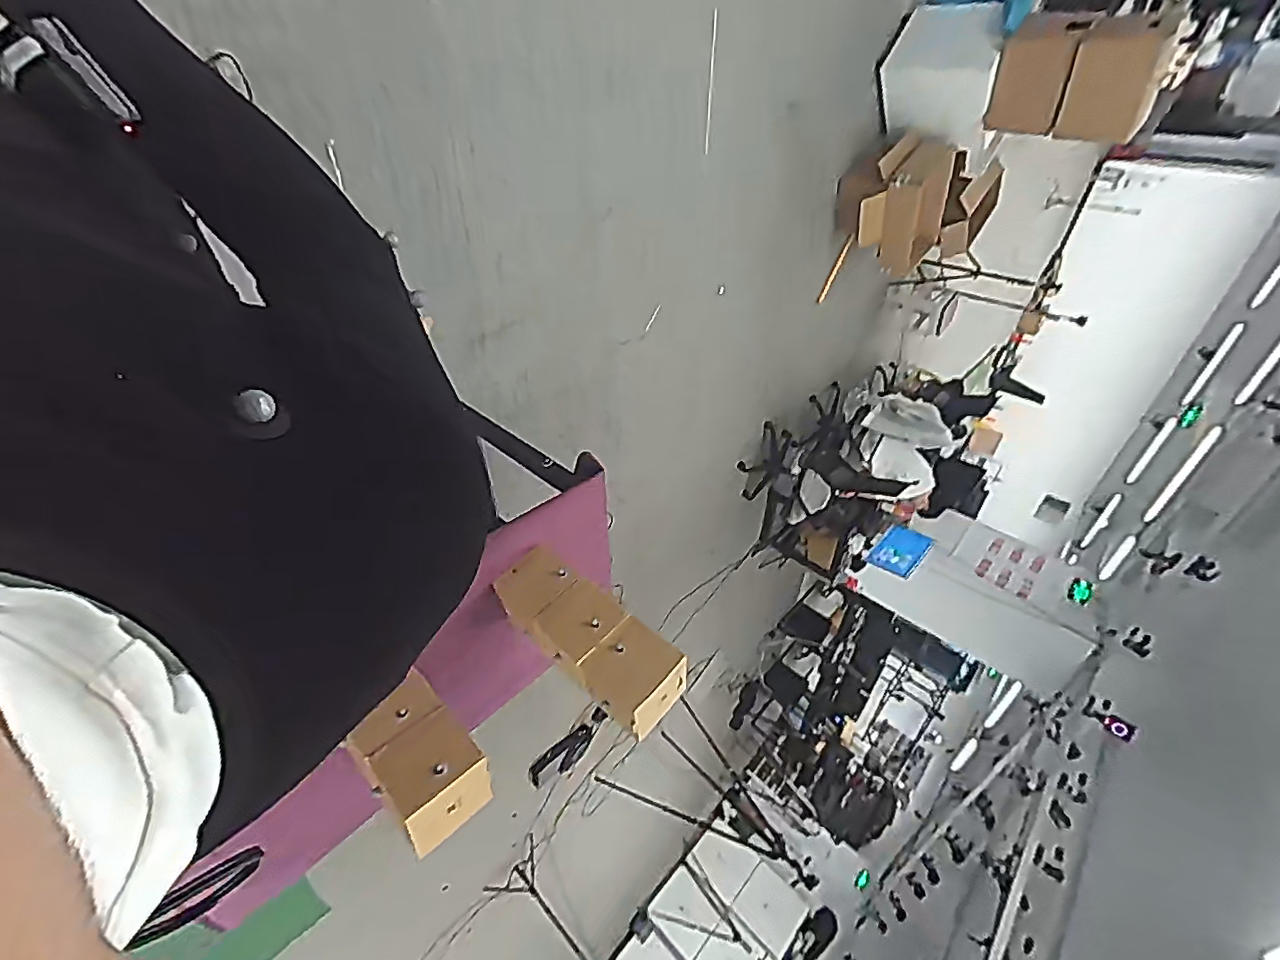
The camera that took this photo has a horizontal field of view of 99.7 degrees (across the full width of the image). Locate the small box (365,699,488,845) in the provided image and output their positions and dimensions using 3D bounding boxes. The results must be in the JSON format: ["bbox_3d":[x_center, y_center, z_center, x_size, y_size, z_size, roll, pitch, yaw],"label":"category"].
[{"bbox_3d":[-0.446,0.606,1.143,0.179,0.176,0.168,-28,136,-39],"label":"small box"}]

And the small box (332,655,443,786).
[{"bbox_3d":[-0.565,0.537,1.231,0.179,0.176,0.168,-26,135,-39],"label":"small box"}]

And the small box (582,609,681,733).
[{"bbox_3d":[-0.023,0.445,1.274,0.179,0.176,0.168,-37,144,-30],"label":"small box"}]

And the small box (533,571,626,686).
[{"bbox_3d":[-0.149,0.364,1.345,0.179,0.176,0.168,-39,144,-30],"label":"small box"}]
